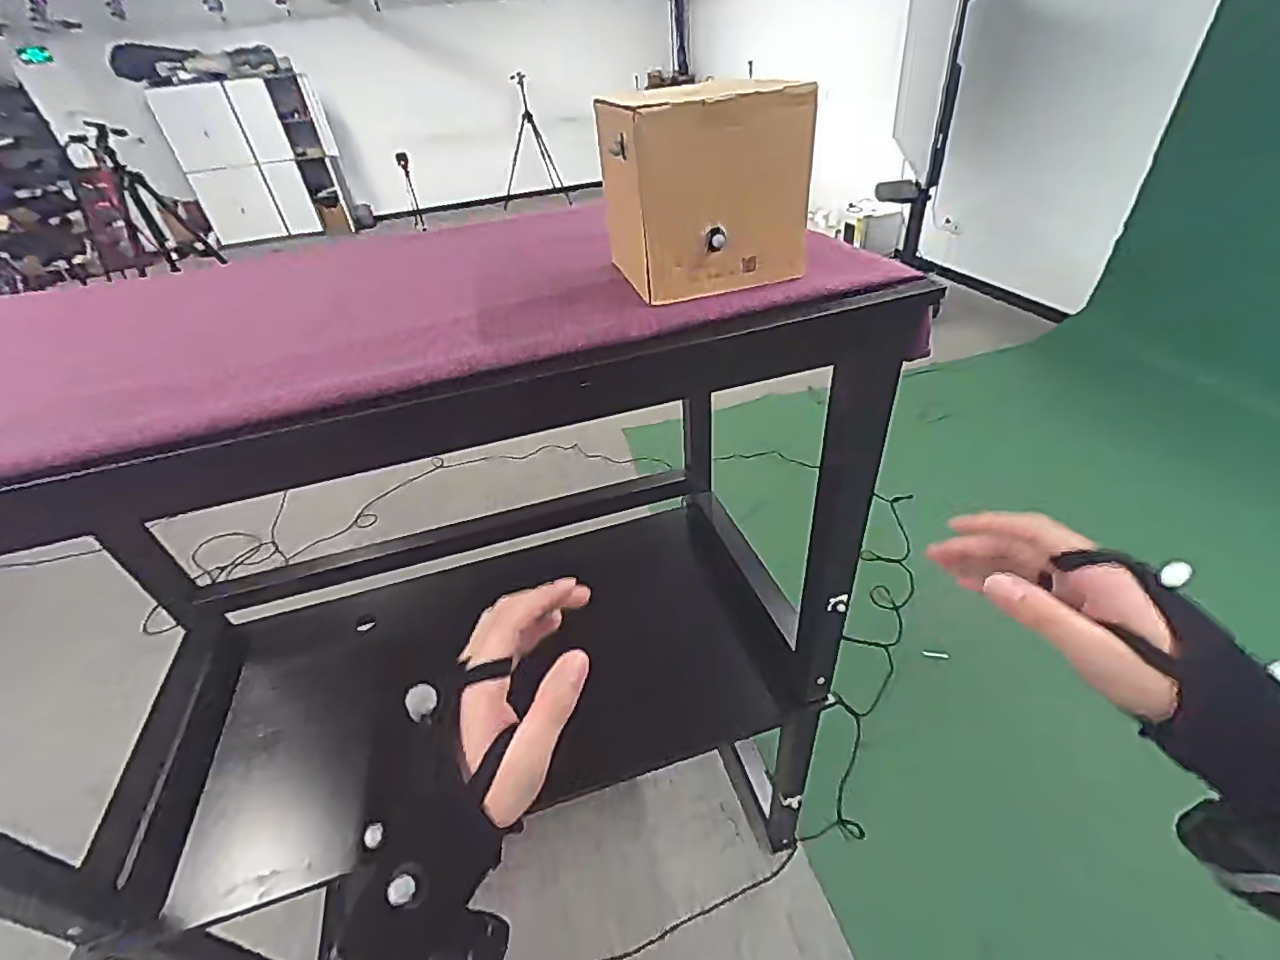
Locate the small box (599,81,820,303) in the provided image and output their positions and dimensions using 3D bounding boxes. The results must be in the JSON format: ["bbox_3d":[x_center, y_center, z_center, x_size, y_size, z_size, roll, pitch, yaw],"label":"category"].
[{"bbox_3d":[0.061,-0.300,0.561,0.168,0.176,0.179,-14,39,-8],"label":"small box"}]
